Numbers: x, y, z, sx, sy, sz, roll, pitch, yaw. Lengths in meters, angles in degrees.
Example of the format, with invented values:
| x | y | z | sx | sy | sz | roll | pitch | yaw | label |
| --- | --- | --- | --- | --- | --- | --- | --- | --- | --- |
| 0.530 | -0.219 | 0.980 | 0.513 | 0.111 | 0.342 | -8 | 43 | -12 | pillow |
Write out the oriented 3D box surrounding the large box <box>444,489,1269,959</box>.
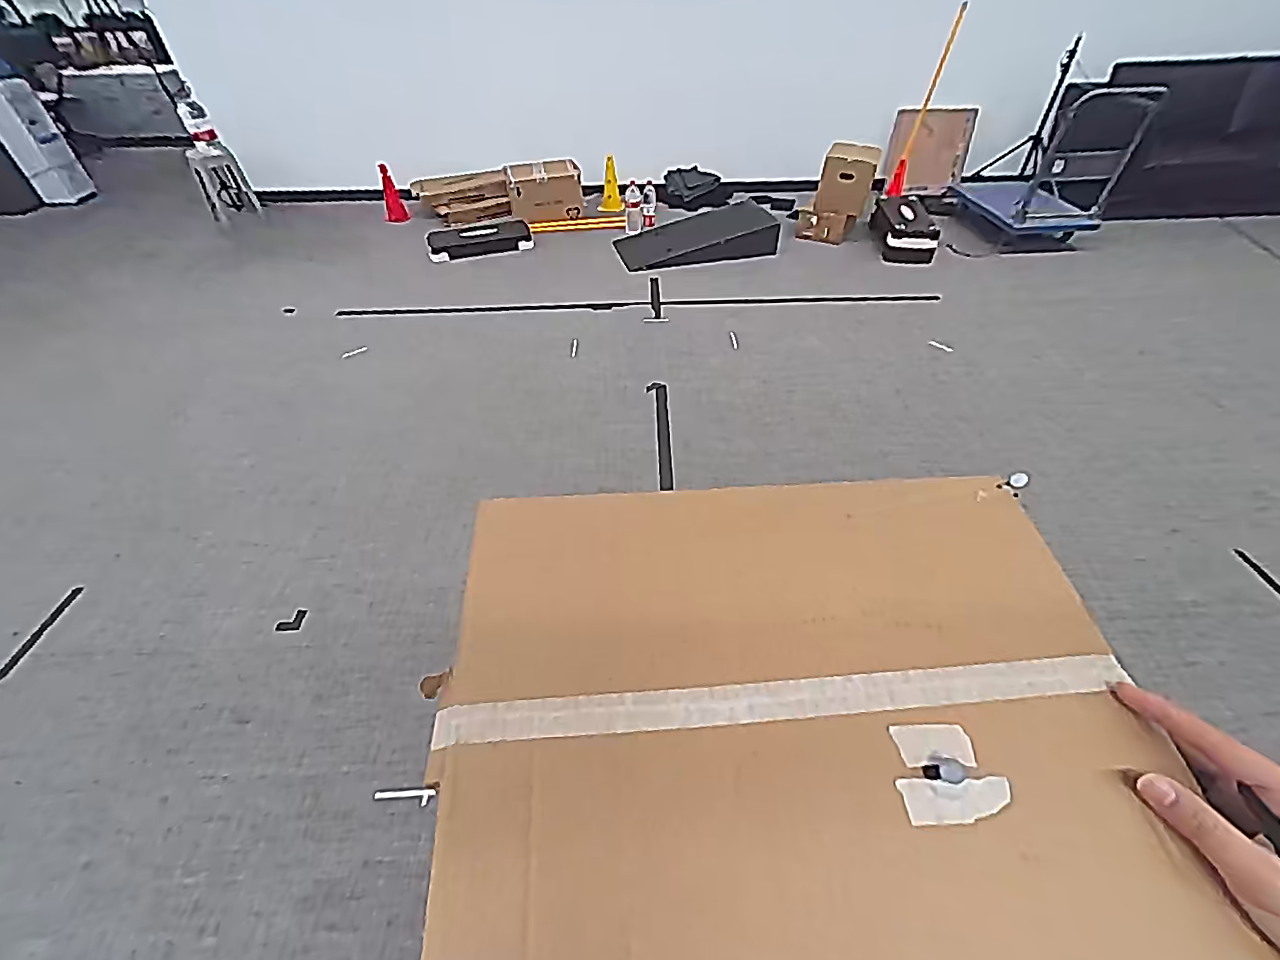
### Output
| x | y | z | sx | sy | sz | roll | pitch | yaw | label |
| --- | --- | --- | --- | --- | --- | --- | --- | --- | --- |
| 0.089 | 0.230 | 0.444 | 0.408 | 0.320 | 0.320 | -3 | 53 | -4 | large box |
